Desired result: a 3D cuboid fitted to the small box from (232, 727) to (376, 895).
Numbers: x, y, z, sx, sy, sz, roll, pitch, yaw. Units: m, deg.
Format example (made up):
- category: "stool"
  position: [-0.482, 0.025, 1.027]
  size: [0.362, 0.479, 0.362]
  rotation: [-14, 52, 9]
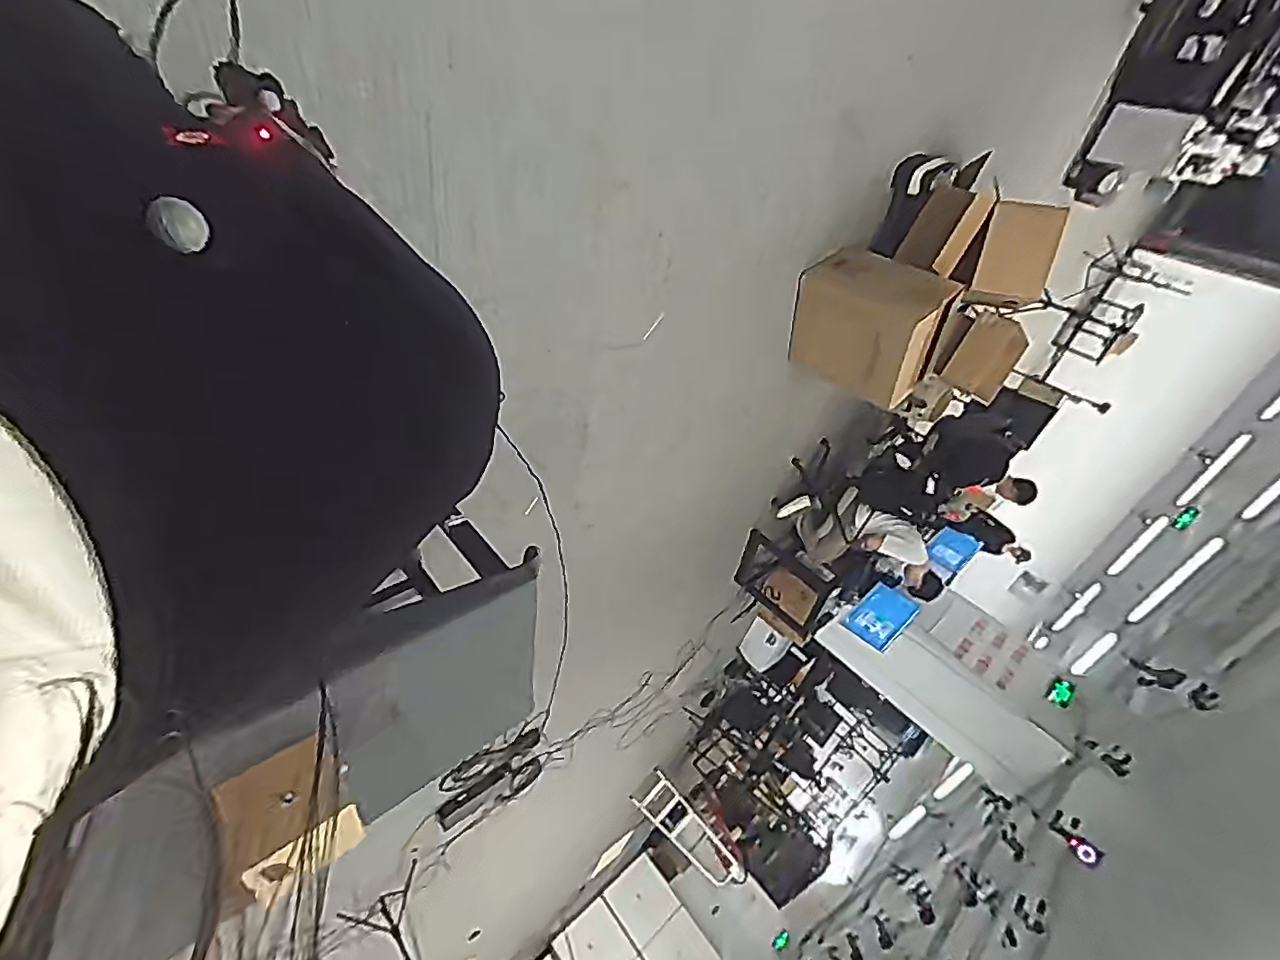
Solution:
- category: "small box"
  position: [-0.621, 0.603, 1.000]
  size: [0.179, 0.176, 0.168]
  rotation: [-25, 140, -33]
